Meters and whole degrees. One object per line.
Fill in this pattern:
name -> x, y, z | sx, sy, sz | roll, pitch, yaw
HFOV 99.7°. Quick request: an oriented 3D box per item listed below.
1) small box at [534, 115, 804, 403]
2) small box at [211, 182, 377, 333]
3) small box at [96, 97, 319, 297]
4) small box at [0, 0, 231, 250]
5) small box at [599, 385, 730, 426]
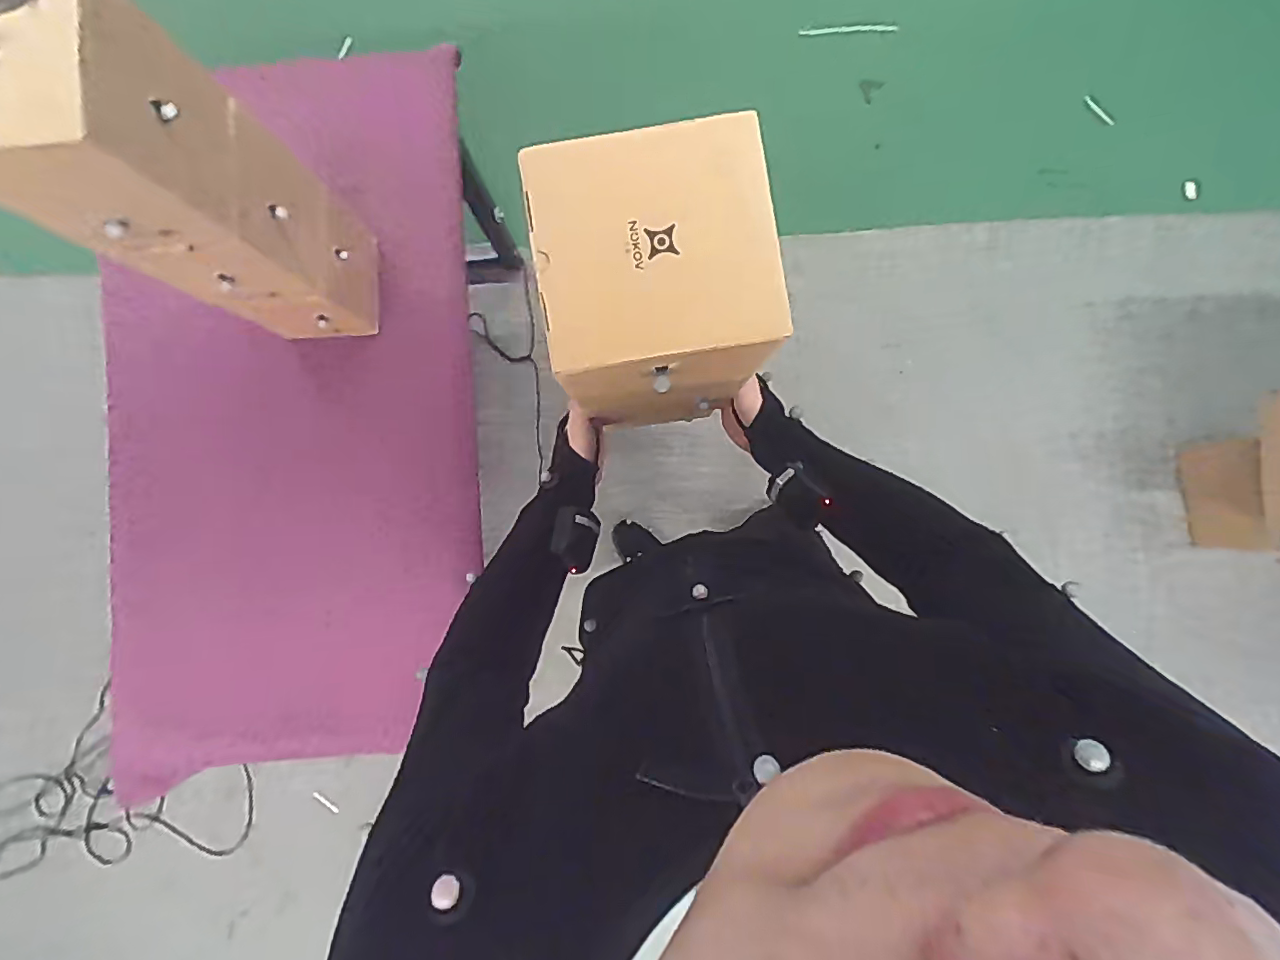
small box -> 0.021, -0.167, 0.463 | 0.179, 0.176, 0.168 | -9, 90, 1
small box -> -0.537, -0.338, 0.859 | 0.168, 0.176, 0.179 | -2, 87, 0
small box -> -0.542, -0.345, 0.695 | 0.168, 0.176, 0.179 | -4, 89, 0
small box -> -0.545, -0.353, 0.531 | 0.168, 0.176, 0.179 | -5, 89, 0
small box -> 0.025, -0.176, 0.790 | 0.179, 0.176, 0.168 | -7, 89, 2
